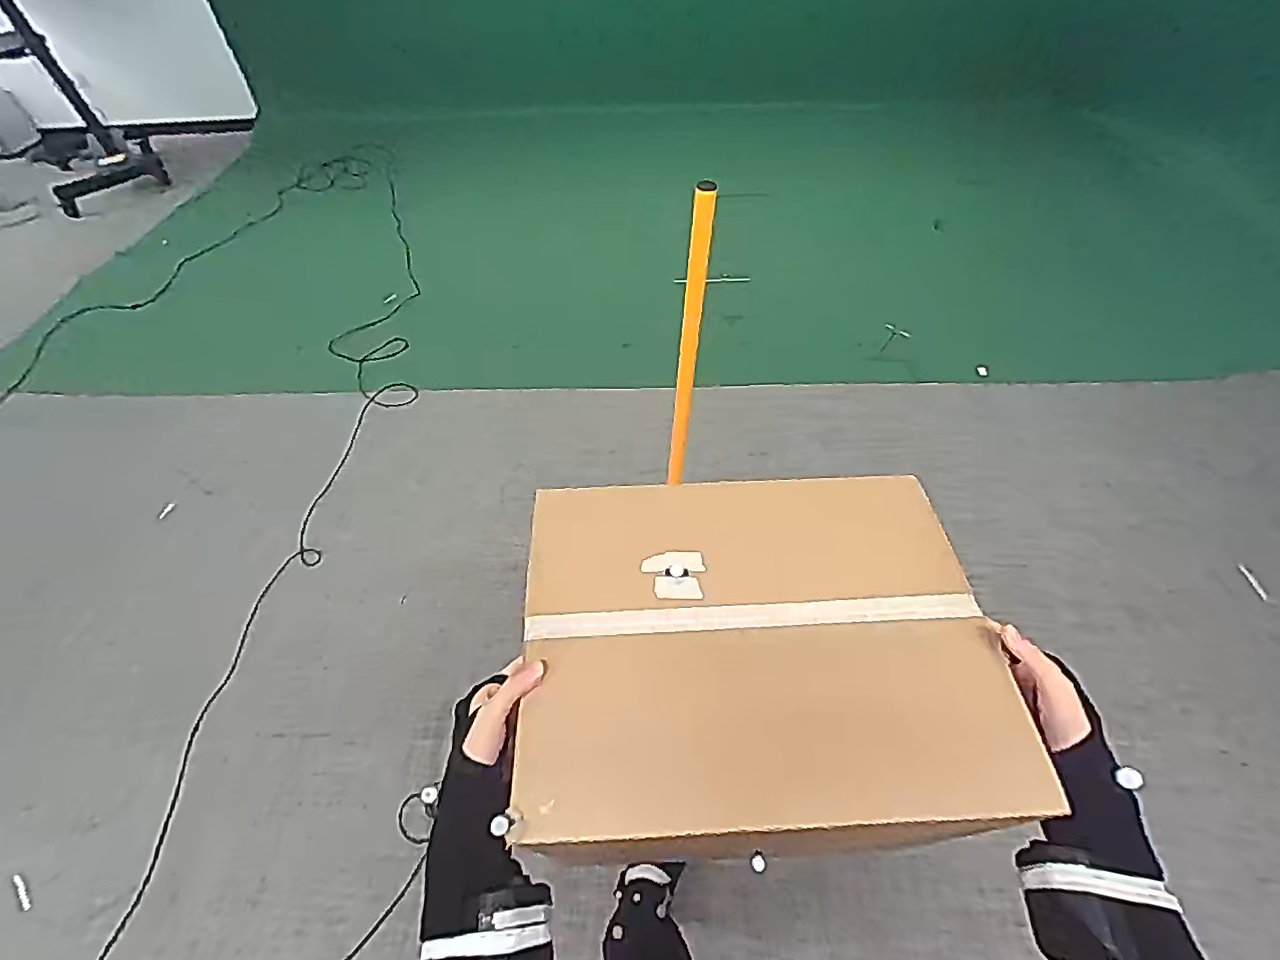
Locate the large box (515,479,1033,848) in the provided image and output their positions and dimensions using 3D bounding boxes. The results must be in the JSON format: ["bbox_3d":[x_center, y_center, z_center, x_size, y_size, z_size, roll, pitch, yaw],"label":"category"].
[{"bbox_3d":[0.102,0.219,0.614,0.408,0.320,0.320,-2,52,0],"label":"large box"}]
